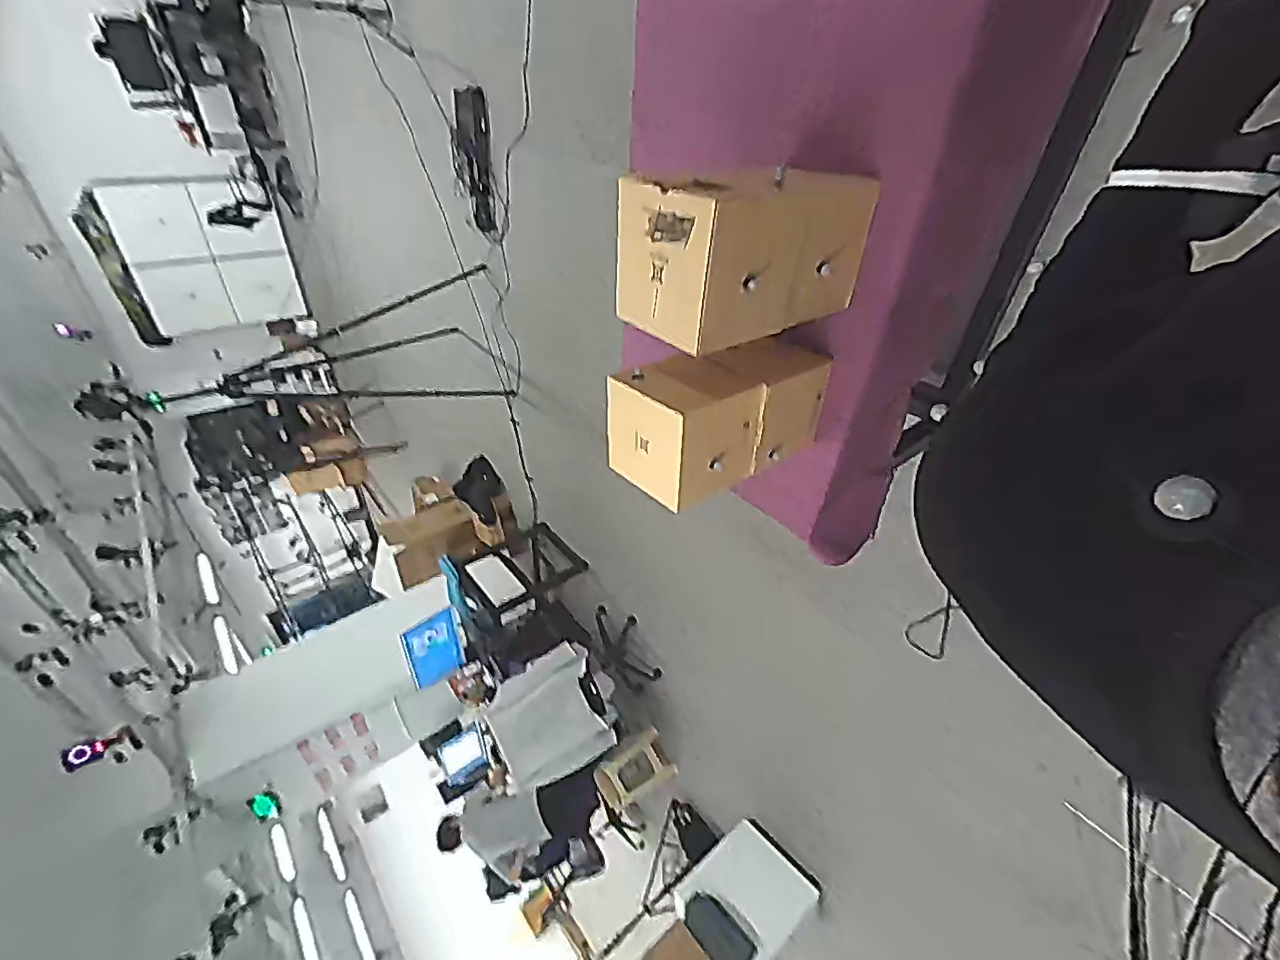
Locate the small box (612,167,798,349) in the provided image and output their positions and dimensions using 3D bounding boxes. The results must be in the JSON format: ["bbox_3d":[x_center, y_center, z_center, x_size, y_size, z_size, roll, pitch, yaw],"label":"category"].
[{"bbox_3d":[0.081,-0.298,0.705,0.168,0.176,0.179,38,139,37],"label":"small box"}]

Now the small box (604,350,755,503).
[{"bbox_3d":[0.062,-0.096,0.869,0.179,0.176,0.168,35,137,41],"label":"small box"}]

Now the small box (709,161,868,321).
[{"bbox_3d":[0.204,-0.358,0.796,0.168,0.176,0.179,37,138,37],"label":"small box"}]
